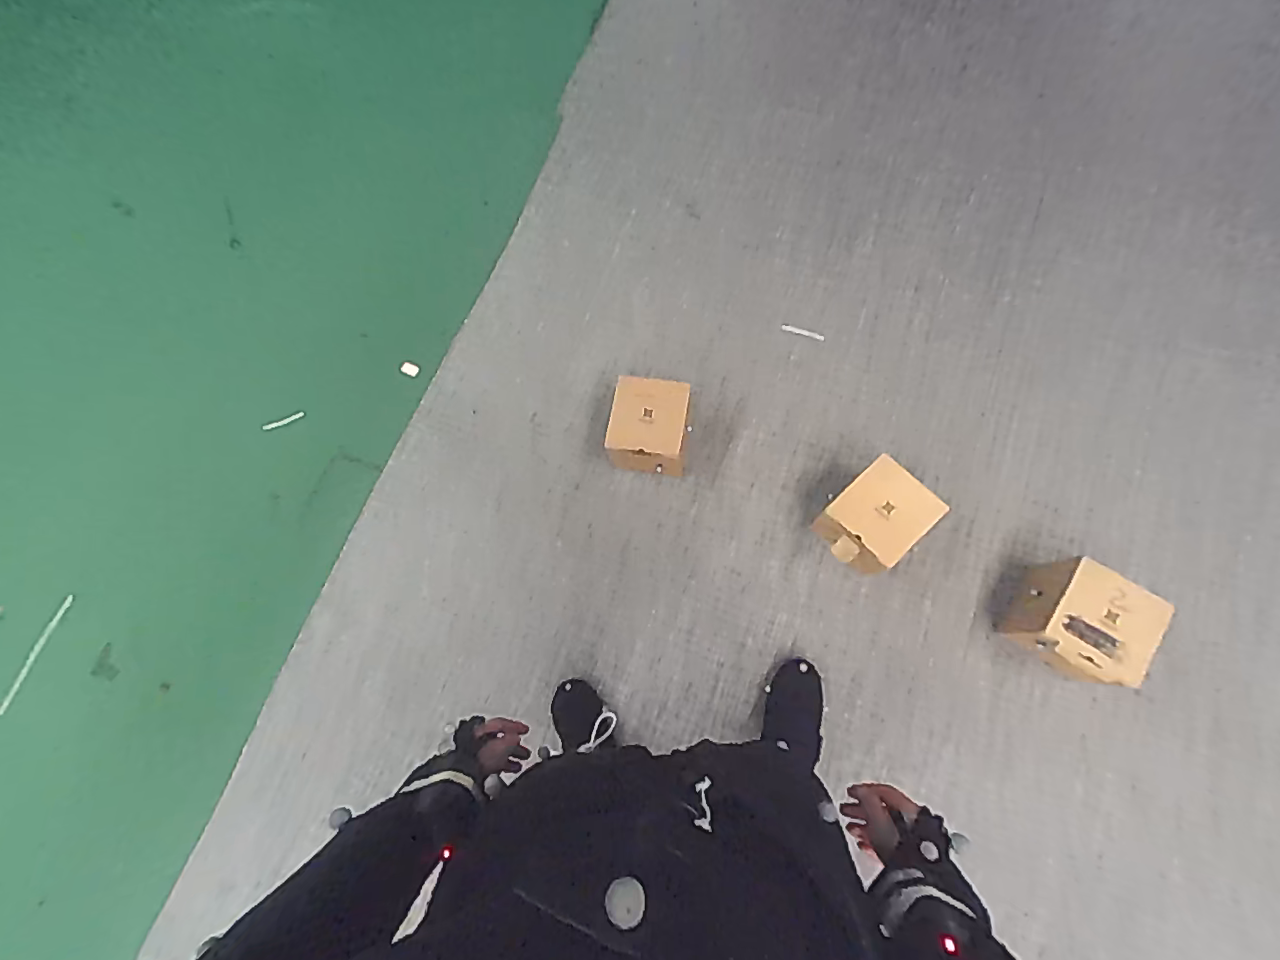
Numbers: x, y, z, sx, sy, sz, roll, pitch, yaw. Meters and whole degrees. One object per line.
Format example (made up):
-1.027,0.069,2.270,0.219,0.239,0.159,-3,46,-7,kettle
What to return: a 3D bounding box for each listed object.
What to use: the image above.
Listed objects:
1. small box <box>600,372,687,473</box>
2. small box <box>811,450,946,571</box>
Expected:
0.017,-0.125,1.240,0.168,0.176,0.179,8,75,7,small box
0.486,0.071,1.135,0.179,0.176,0.168,-44,75,-5,small box
